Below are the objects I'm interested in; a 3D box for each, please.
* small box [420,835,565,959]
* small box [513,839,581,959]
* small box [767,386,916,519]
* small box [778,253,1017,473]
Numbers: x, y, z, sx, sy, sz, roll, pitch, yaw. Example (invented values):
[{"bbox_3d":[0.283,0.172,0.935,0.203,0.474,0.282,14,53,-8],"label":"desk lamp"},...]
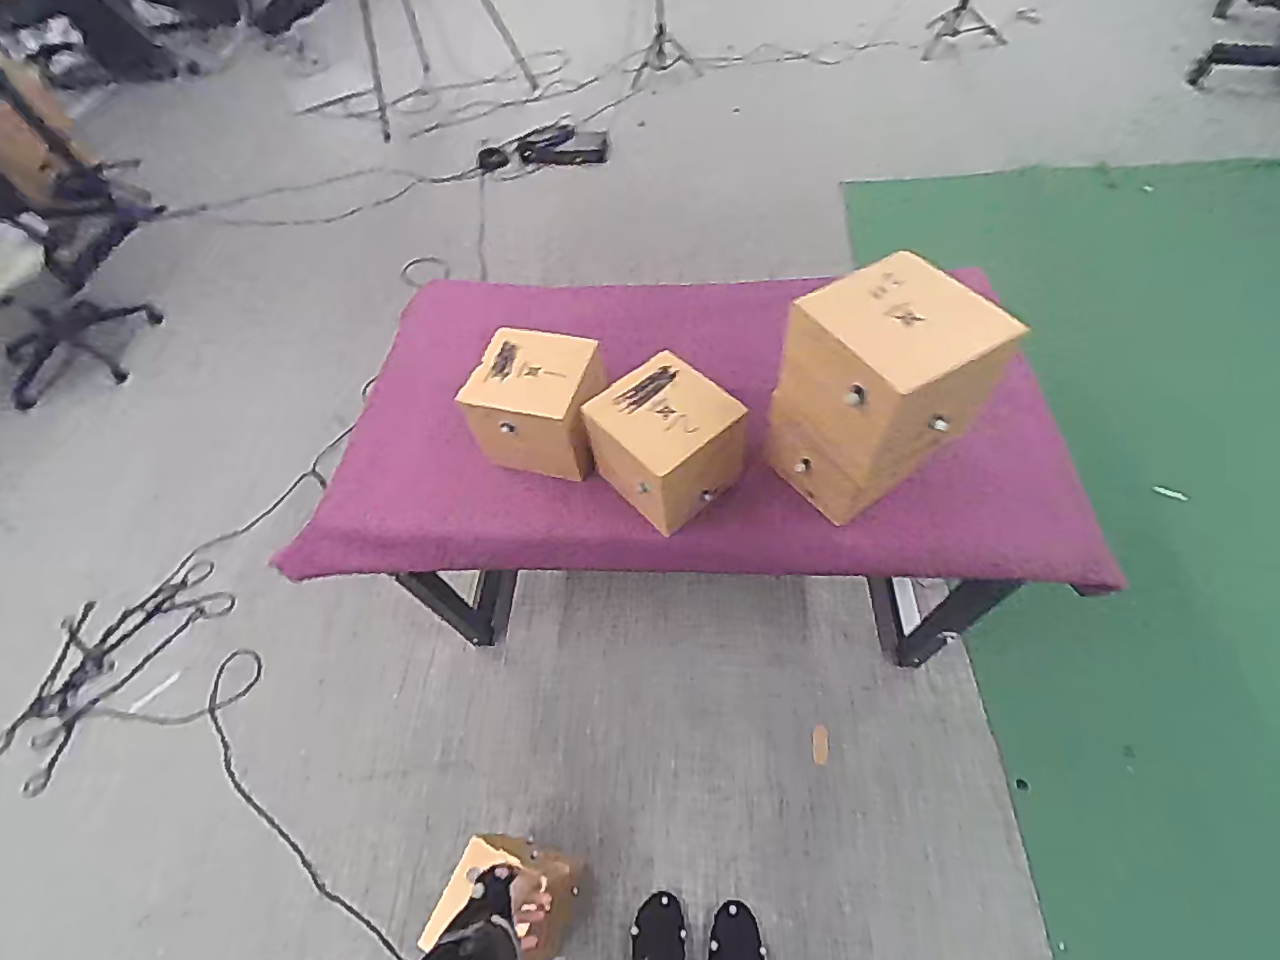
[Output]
[{"bbox_3d":[-0.257,0.784,0.990,0.168,0.176,0.179,17,60,18],"label":"small box"},{"bbox_3d":[-0.233,0.871,1.124,0.168,0.176,0.179,12,60,15],"label":"small box"},{"bbox_3d":[0.307,-0.072,0.810,0.179,0.176,0.168,-34,59,-15],"label":"small box"},{"bbox_3d":[0.288,-0.131,0.652,0.168,0.176,0.179,-27,56,-11],"label":"small box"}]
